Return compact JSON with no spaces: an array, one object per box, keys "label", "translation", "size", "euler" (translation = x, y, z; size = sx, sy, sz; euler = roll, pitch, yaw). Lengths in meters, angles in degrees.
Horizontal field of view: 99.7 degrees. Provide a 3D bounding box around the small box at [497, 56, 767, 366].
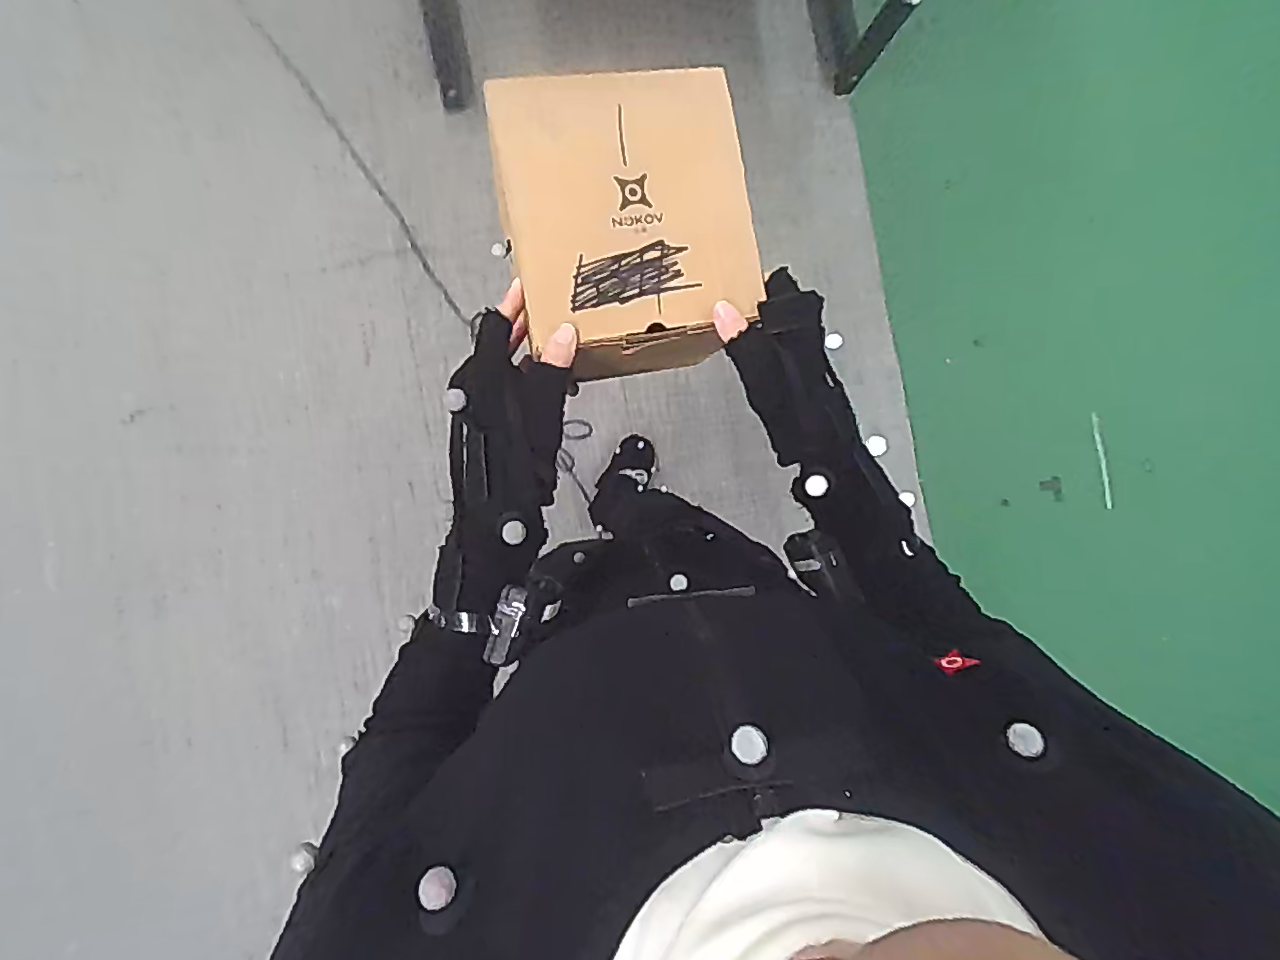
[{"label":"small box","translation":[-0.015,-0.197,0.445],"size":[0.168,0.176,0.179],"euler":[-10,92,-10]}]
